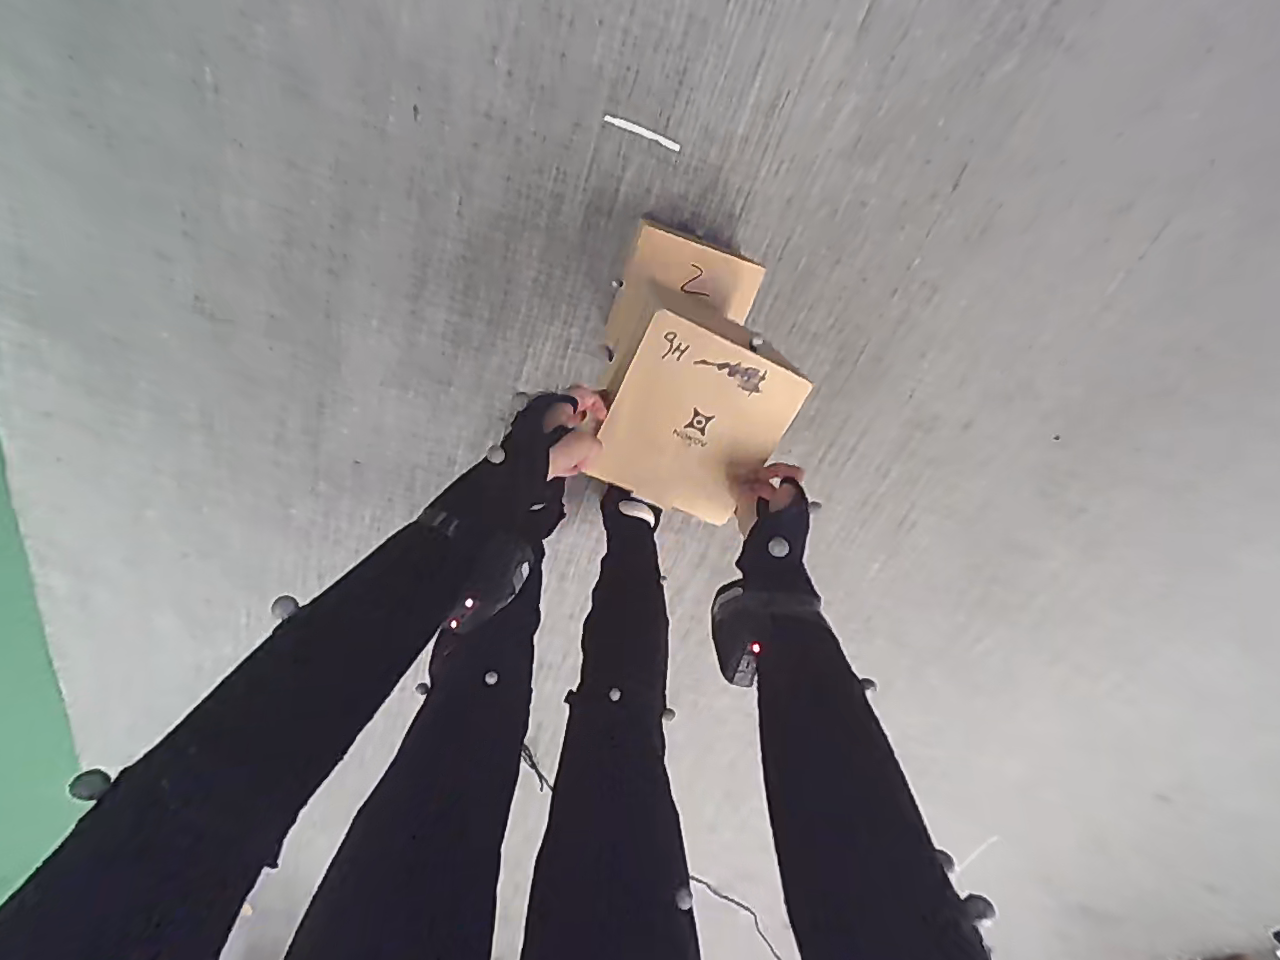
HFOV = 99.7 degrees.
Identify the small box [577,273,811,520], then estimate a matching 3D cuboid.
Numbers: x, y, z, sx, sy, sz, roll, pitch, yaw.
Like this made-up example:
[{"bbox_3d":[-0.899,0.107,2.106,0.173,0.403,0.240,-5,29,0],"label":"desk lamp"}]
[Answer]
[{"bbox_3d":[0.046,-0.094,0.578,0.168,0.176,0.179,22,116,-15],"label":"small box"}]
